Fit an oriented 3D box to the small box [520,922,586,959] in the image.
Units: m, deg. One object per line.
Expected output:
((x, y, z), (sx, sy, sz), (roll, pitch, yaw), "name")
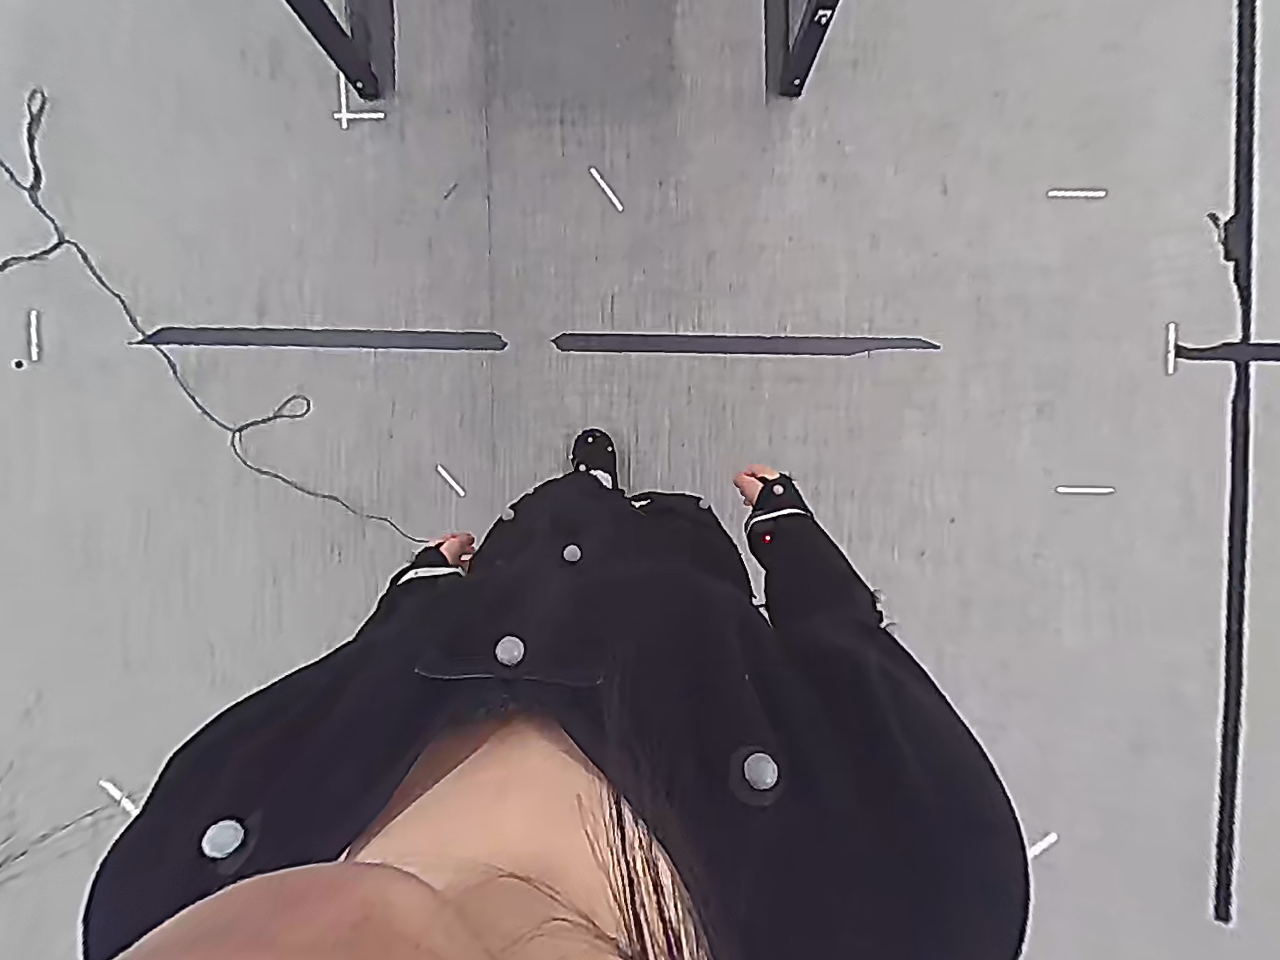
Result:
((-0.237, 1.347, 1.469), (0.168, 0.176, 0.179), (-2, 92, 1), "small box")
